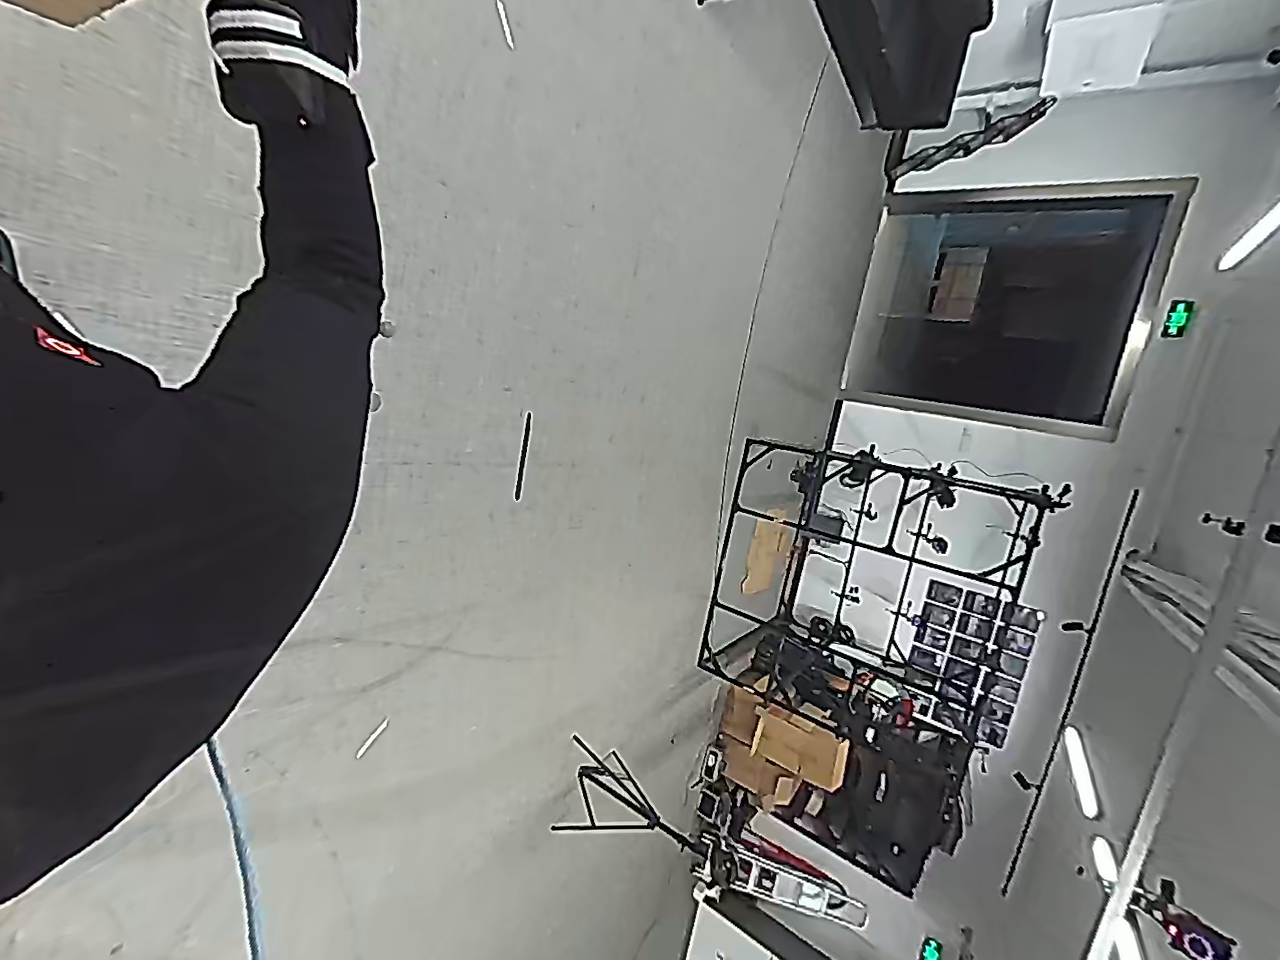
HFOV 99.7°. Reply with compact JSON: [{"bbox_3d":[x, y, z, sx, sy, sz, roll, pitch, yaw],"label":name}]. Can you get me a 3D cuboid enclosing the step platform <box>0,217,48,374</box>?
[{"bbox_3d":[-1.367,-0.334,0.787,0.684,0.204,0.286,-6,108,-57],"label":"step platform"}]
